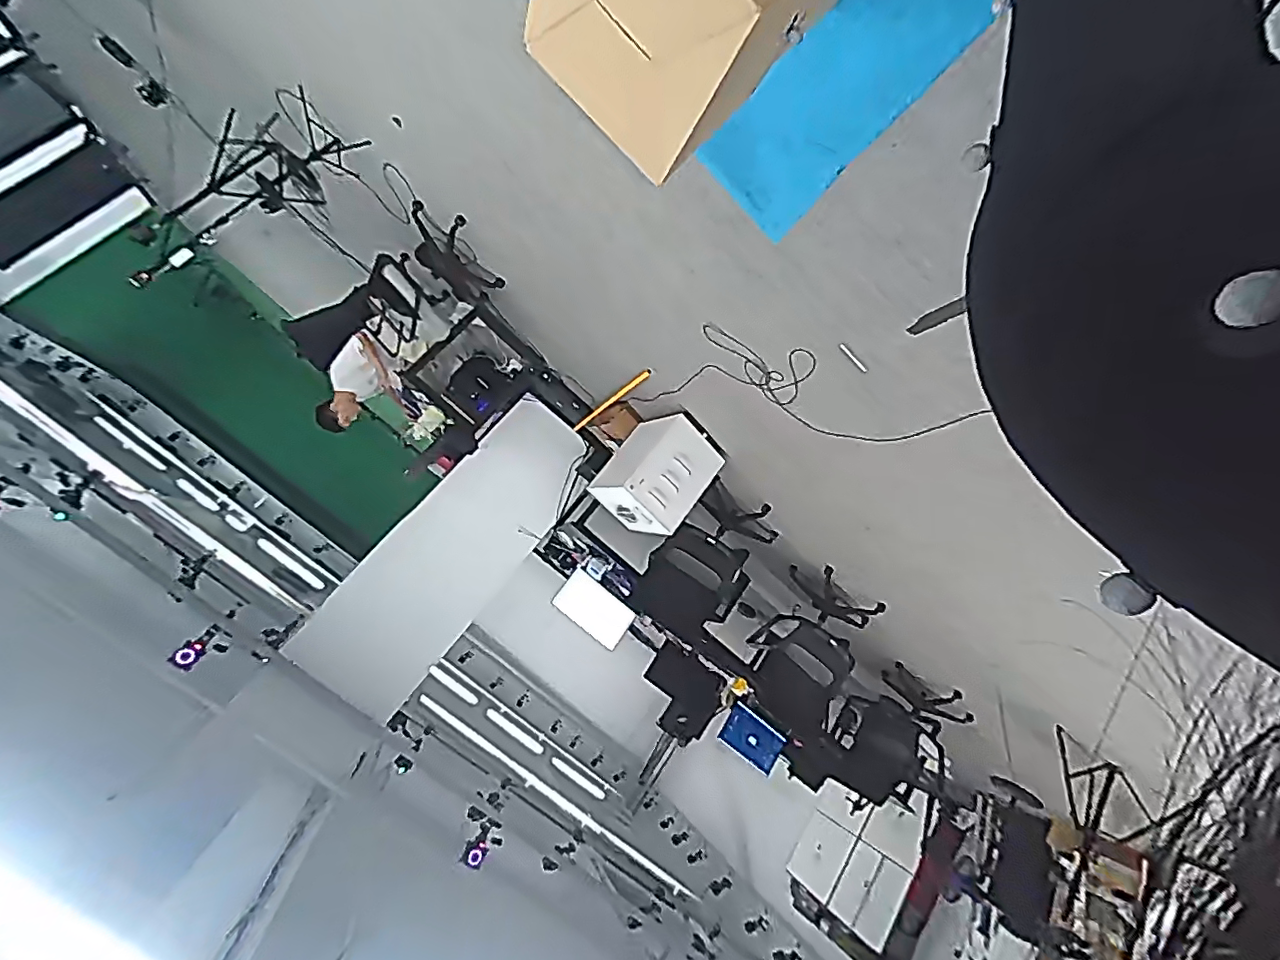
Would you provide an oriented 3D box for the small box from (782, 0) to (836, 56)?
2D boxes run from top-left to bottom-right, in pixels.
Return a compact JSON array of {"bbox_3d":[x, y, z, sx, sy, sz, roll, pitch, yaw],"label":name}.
[{"bbox_3d":[0.124,-0.525,0.495,0.179,0.176,0.168,41,163,-12],"label":"small box"}]

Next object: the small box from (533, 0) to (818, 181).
[{"bbox_3d":[0.036,-0.393,0.440,0.168,0.176,0.179,42,161,-10],"label":"small box"}]
